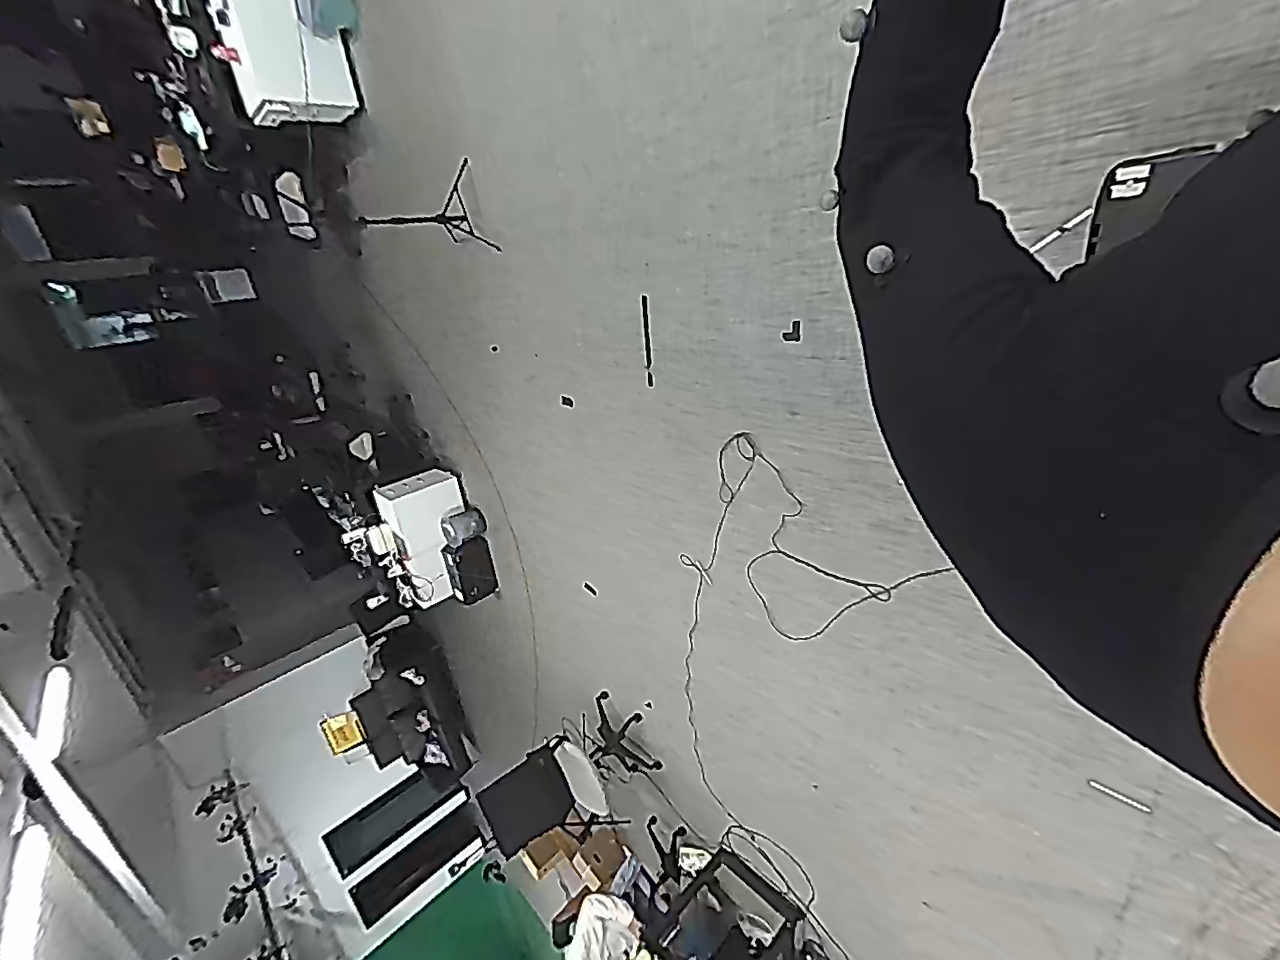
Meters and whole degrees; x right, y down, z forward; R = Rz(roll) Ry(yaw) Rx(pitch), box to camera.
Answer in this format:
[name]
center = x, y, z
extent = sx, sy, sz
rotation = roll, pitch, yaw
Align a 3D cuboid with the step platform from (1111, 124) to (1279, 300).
[step platform]
center = 1.237, -0.472, 0.899
extent = 0.684, 0.204, 0.286
rotation = 14, 120, 45
